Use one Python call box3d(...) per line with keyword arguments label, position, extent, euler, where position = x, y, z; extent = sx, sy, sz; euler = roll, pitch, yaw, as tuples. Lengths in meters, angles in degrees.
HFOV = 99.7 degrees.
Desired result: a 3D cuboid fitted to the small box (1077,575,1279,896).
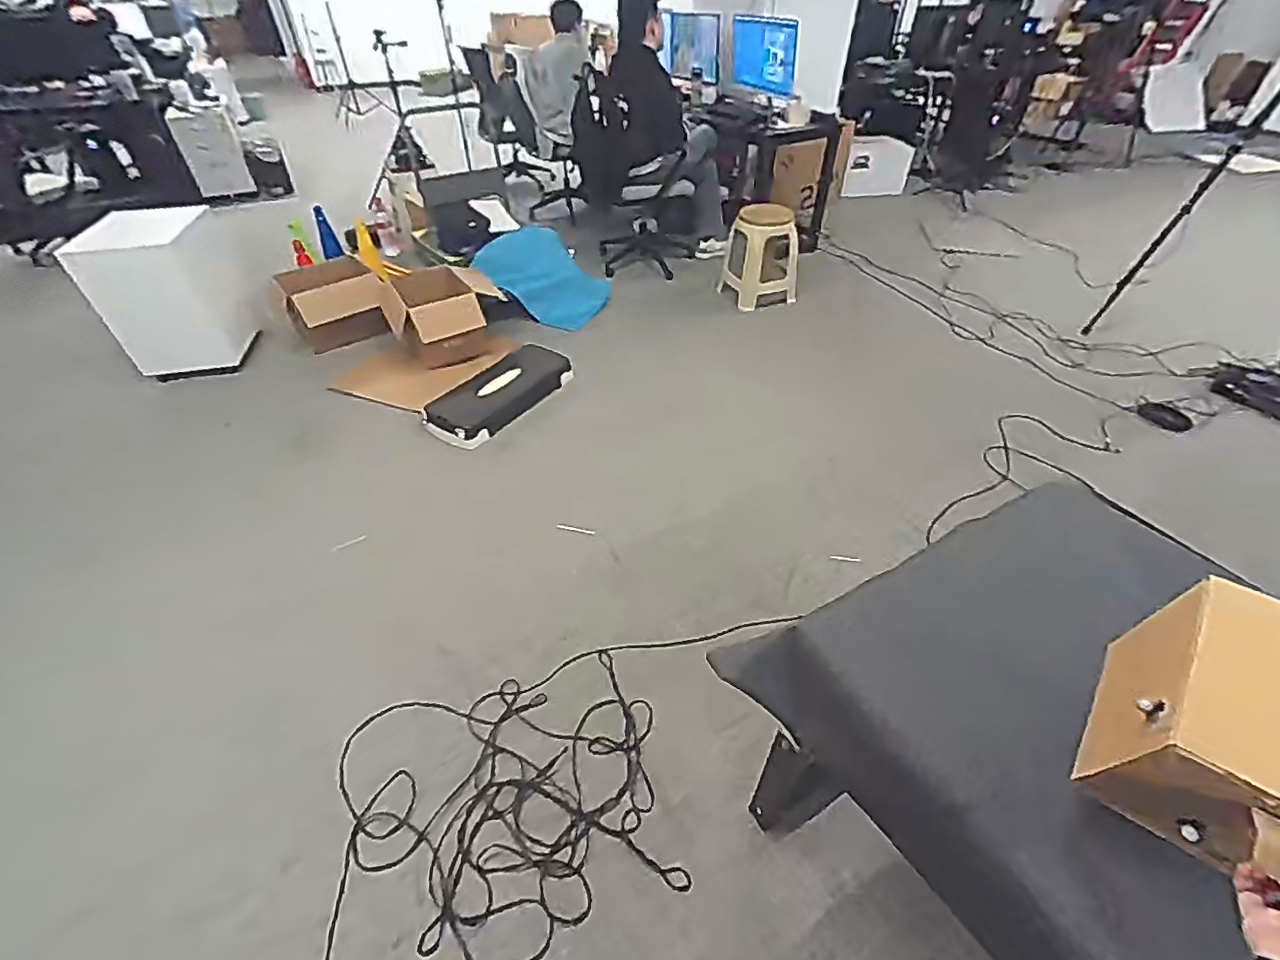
box3d(label="small box", position=(0.529, 0.222, 0.471), extent=(0.168, 0.176, 0.179), euler=(28, 63, 27))
